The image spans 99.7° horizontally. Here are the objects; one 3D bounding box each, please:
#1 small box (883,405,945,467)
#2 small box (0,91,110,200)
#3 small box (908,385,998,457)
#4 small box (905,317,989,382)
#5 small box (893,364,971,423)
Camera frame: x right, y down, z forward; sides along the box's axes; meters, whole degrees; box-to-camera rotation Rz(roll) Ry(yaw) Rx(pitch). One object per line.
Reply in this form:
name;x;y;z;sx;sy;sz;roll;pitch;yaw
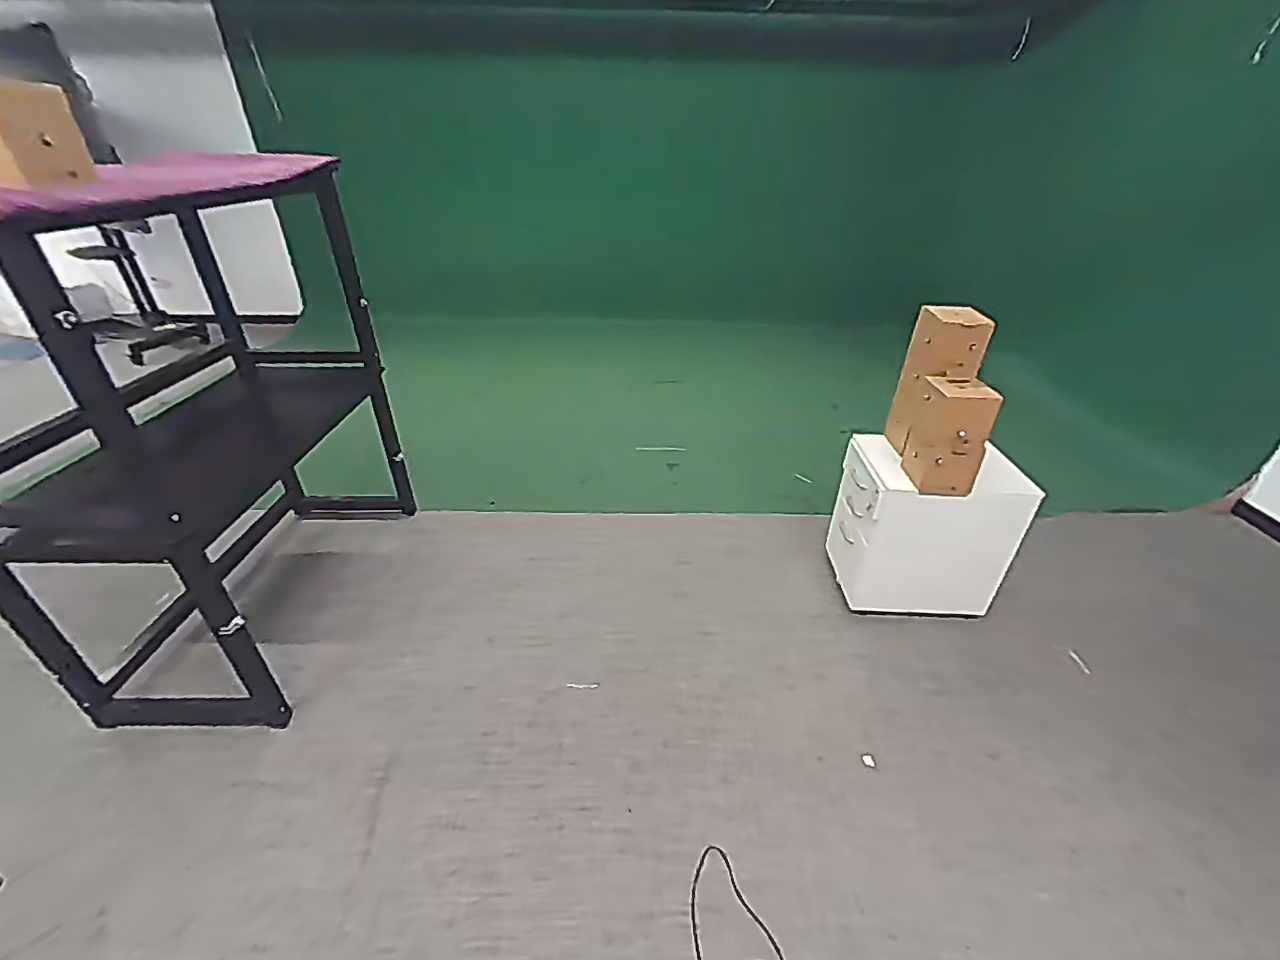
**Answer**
small box;1.019;-0.163;1.991;0.168;0.176;0.179;1;33;0
small box;-1.183;-0.631;1.024;0.179;0.176;0.168;0;30;-2
small box;0.979;-0.188;1.711;0.168;0.176;0.179;2;30;1
small box;1.021;-0.438;1.816;0.168;0.176;0.179;3;33;0
small box;1.019;-0.302;1.904;0.168;0.176;0.179;3;34;2
